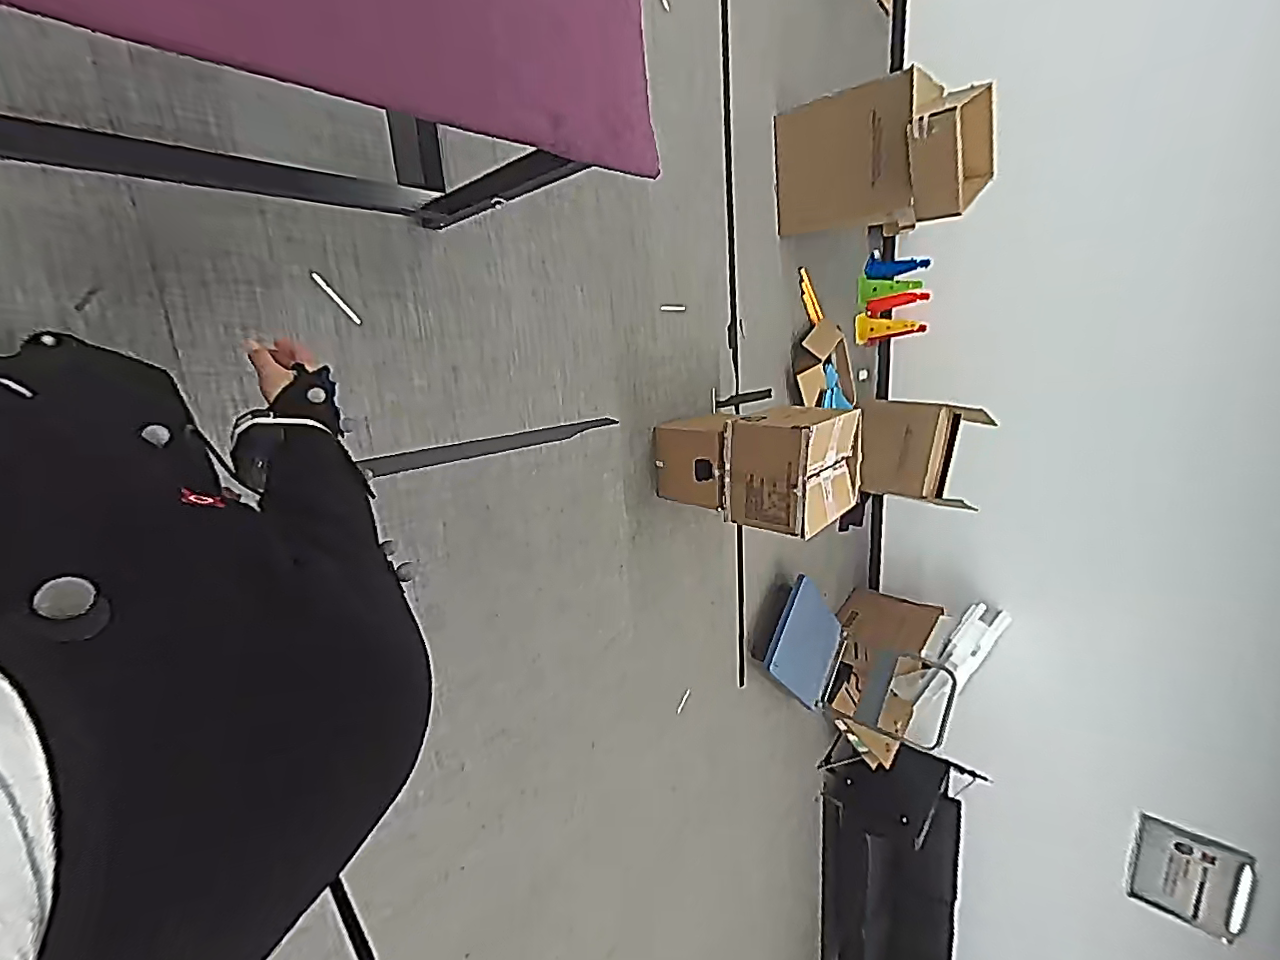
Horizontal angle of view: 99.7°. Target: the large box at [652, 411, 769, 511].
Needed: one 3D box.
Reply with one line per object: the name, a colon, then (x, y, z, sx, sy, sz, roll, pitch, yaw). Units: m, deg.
large box: (0.300, -0.098, 2.258, 0.408, 0.320, 0.320, -19, 111, -44)
